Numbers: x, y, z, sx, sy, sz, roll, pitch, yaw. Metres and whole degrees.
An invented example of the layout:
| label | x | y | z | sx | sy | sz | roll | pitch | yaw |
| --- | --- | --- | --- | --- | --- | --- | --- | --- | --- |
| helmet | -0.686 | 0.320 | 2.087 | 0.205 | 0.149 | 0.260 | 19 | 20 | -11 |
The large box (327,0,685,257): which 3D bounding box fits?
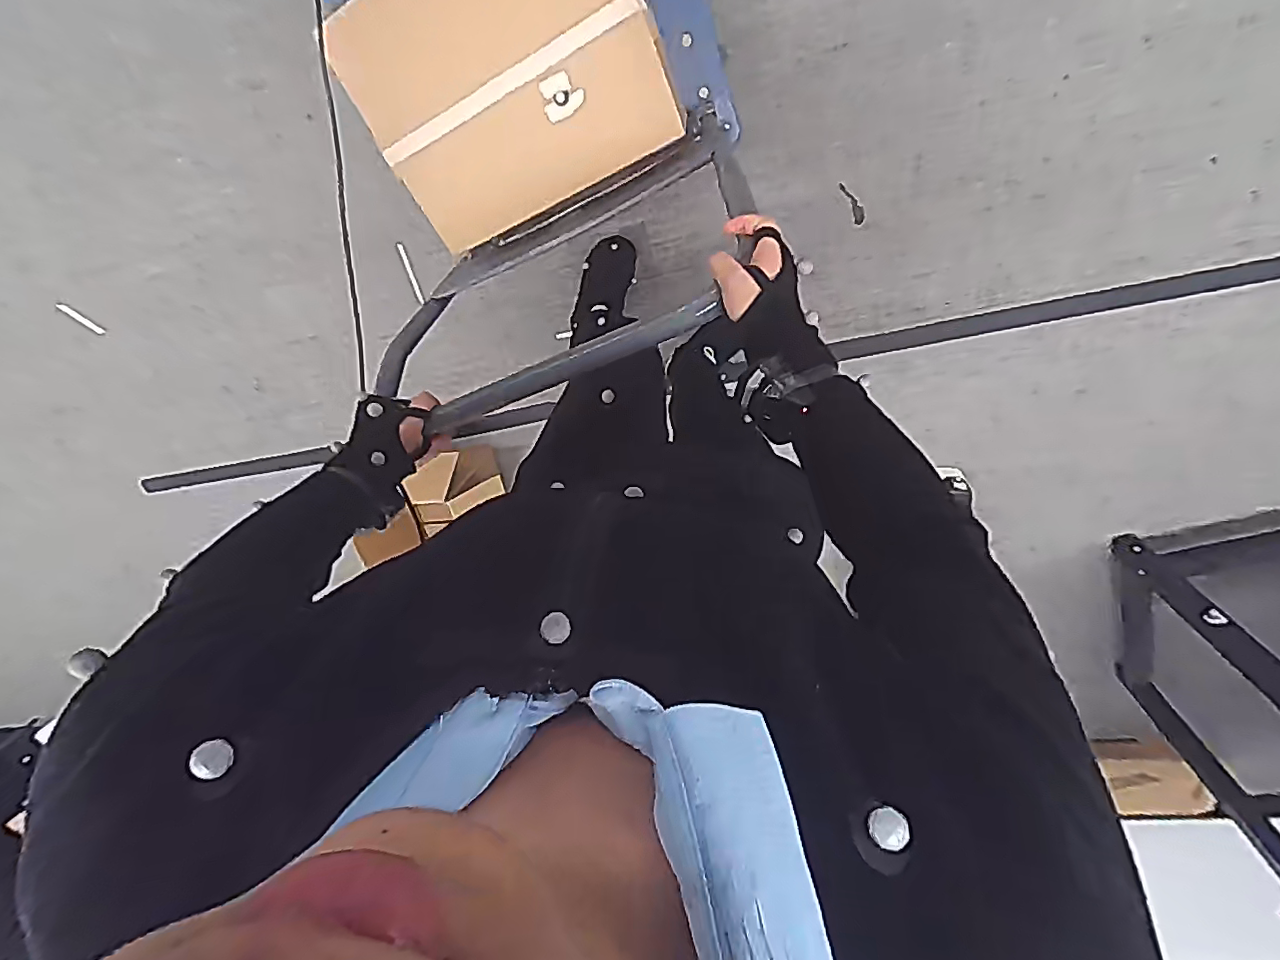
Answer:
| label | x | y | z | sx | sy | sz | roll | pitch | yaw |
| --- | --- | --- | --- | --- | --- | --- | --- | --- | --- |
| large box | -0.171 | -0.621 | 0.854 | 0.408 | 0.320 | 0.320 | -19 | 124 | 18 |
